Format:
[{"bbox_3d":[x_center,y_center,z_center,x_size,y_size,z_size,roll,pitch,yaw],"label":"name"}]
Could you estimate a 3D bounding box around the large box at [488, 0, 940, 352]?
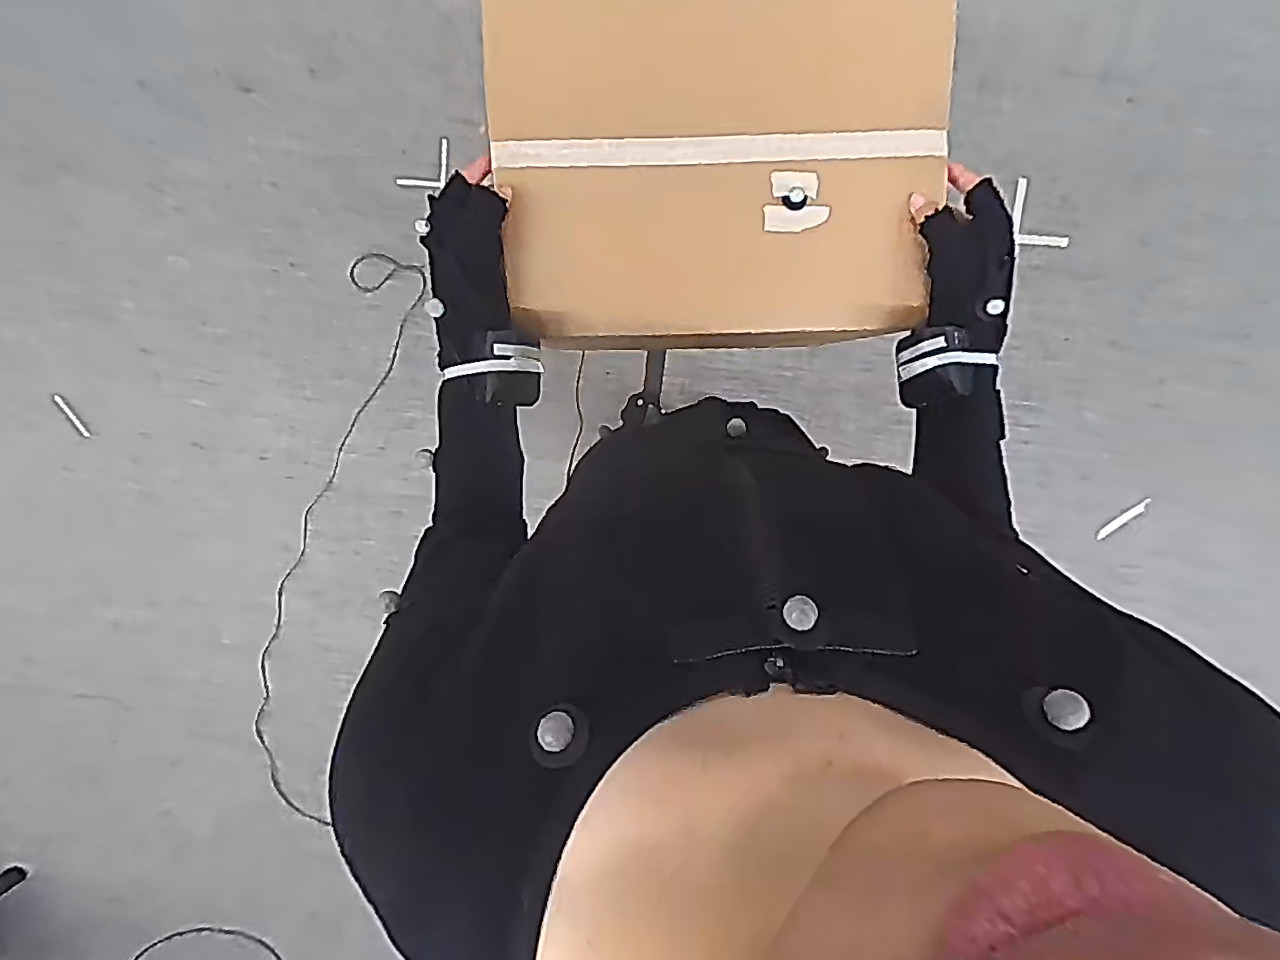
[{"bbox_3d":[0.066,-0.325,0.639,0.408,0.320,0.320,-1,101,0],"label":"large box"}]
